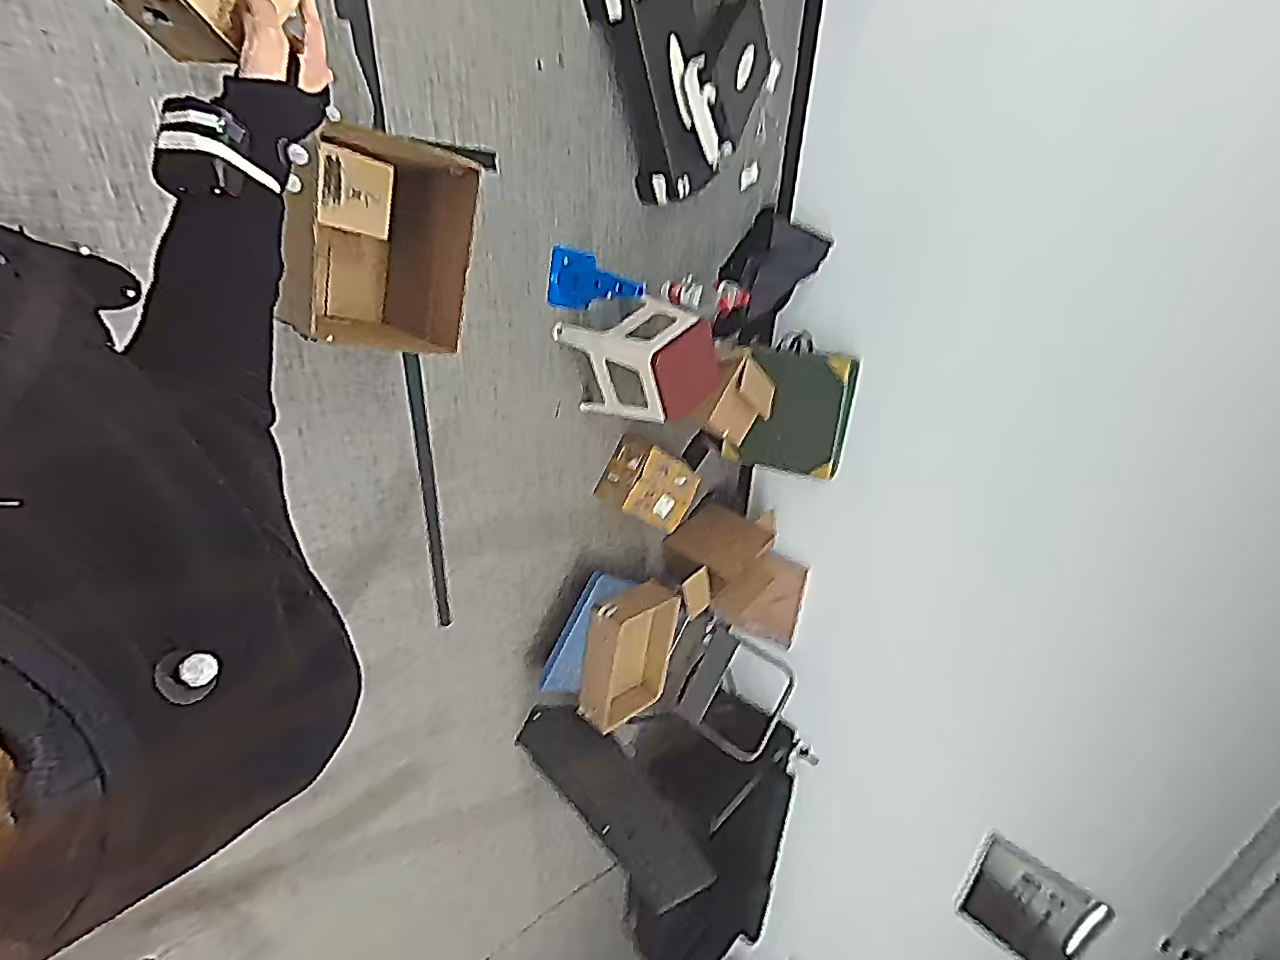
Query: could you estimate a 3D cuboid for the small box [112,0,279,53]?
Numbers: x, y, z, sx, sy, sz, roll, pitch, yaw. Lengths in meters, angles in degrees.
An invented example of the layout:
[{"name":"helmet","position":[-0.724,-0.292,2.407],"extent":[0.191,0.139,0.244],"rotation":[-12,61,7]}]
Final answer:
[{"name":"small box","position":[-0.405,-0.502,0.453],"extent":[0.179,0.176,0.168],"rotation":[-59,151,-9]}]
